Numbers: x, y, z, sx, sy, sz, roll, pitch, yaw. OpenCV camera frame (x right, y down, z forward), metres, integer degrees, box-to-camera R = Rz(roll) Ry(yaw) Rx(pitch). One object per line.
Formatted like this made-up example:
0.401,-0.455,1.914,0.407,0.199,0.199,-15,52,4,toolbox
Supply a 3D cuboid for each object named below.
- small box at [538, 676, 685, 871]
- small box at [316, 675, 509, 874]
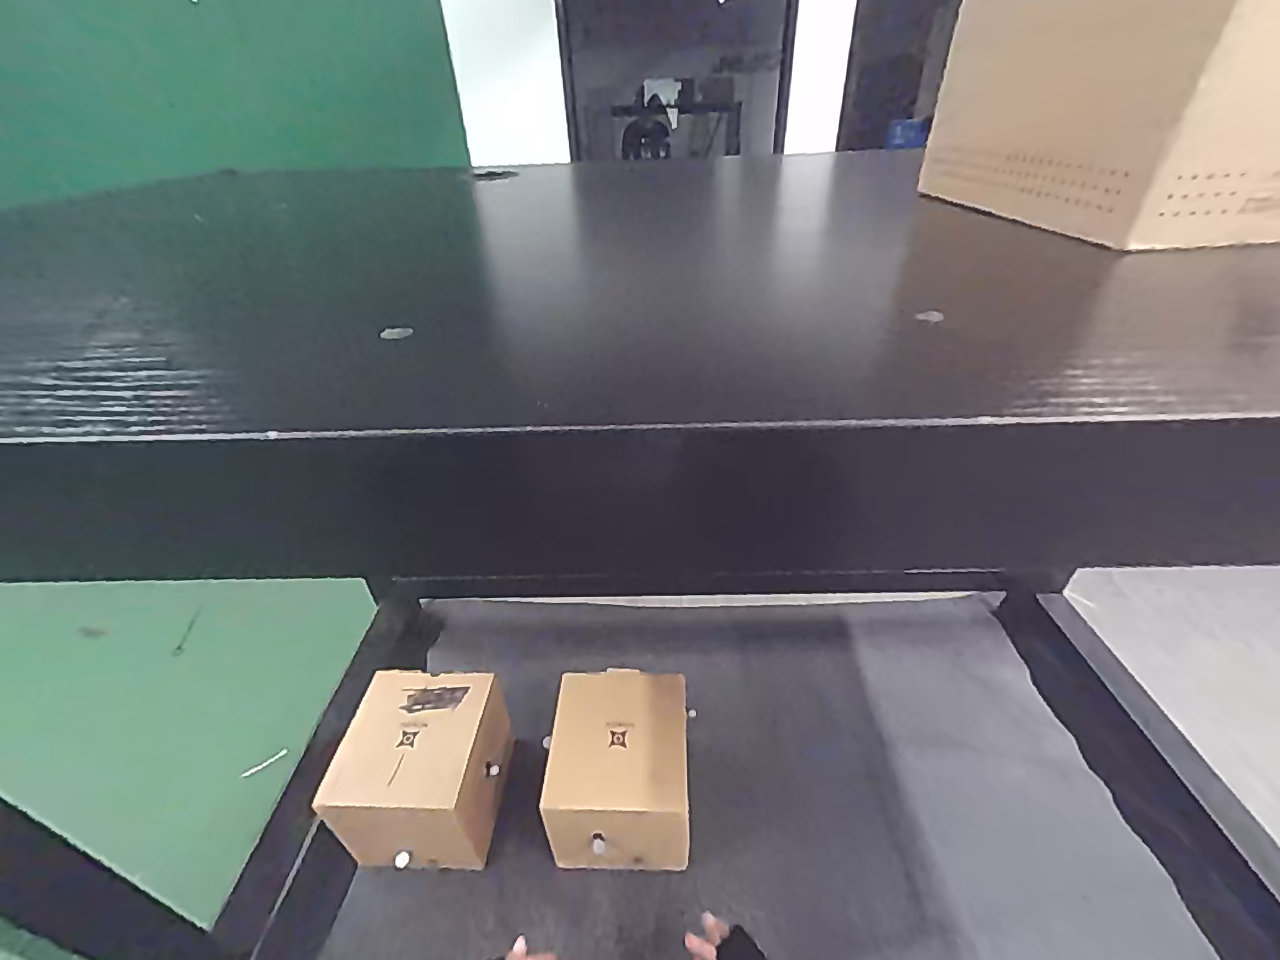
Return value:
-0.026,0.381,0.706,0.168,0.176,0.179,-1,34,2,small box
-0.279,0.383,0.714,0.168,0.176,0.179,0,35,3,small box
